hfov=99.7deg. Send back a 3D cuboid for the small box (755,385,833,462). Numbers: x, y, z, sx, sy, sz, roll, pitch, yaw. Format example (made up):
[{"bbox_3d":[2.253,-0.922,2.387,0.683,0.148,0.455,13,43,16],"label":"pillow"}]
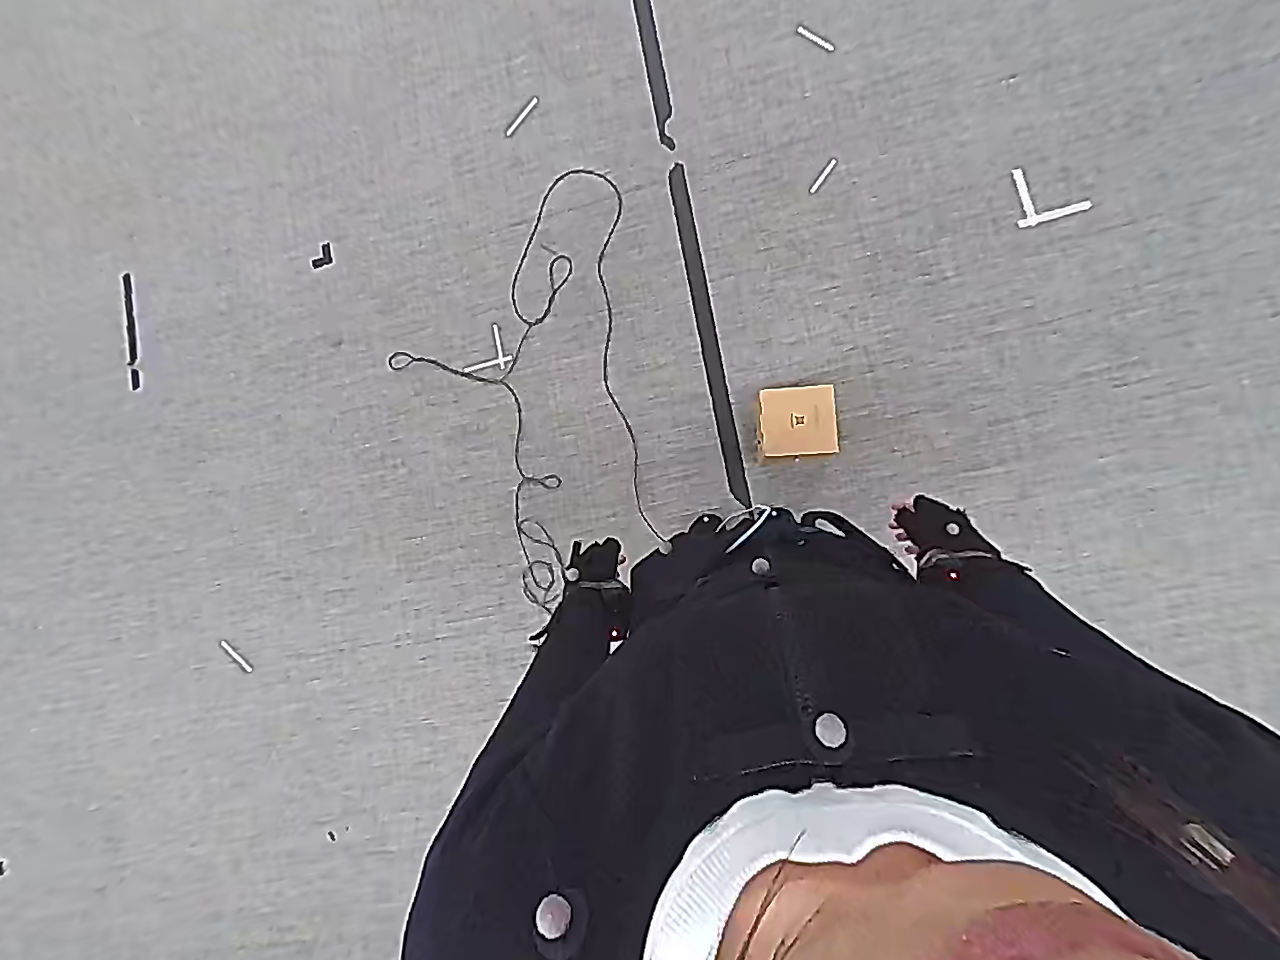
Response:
[{"bbox_3d":[0.388,-0.139,1.389,0.179,0.176,0.168,-3,86,8],"label":"small box"}]
